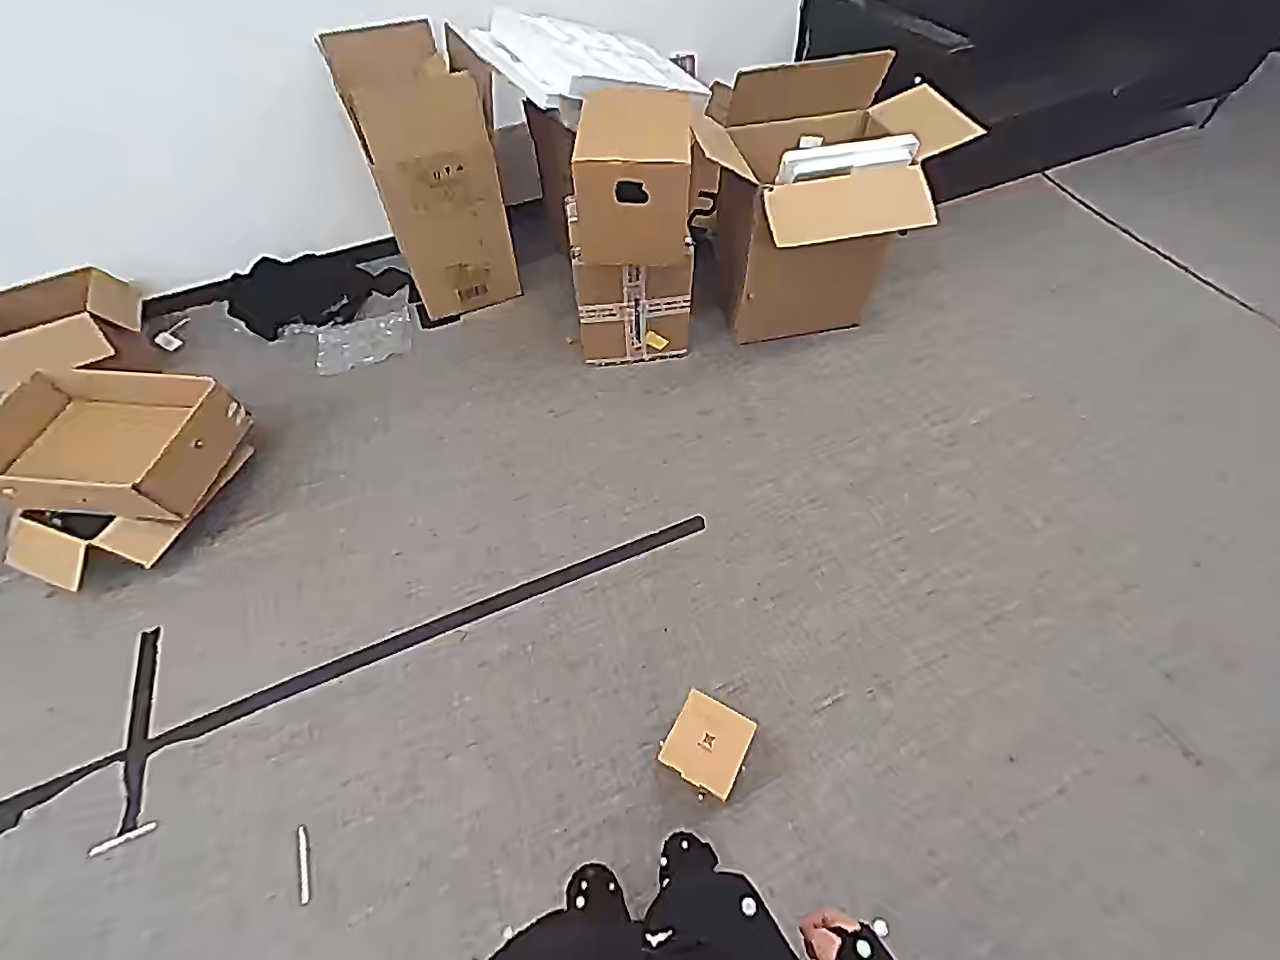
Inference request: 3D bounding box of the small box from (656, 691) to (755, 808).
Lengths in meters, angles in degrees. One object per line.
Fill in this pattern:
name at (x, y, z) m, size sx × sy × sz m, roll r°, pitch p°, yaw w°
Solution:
small box at (0.148, 0.627, 1.250) m, size 0.168 × 0.176 × 0.179 m, roll 24°, pitch 58°, yaw 17°
